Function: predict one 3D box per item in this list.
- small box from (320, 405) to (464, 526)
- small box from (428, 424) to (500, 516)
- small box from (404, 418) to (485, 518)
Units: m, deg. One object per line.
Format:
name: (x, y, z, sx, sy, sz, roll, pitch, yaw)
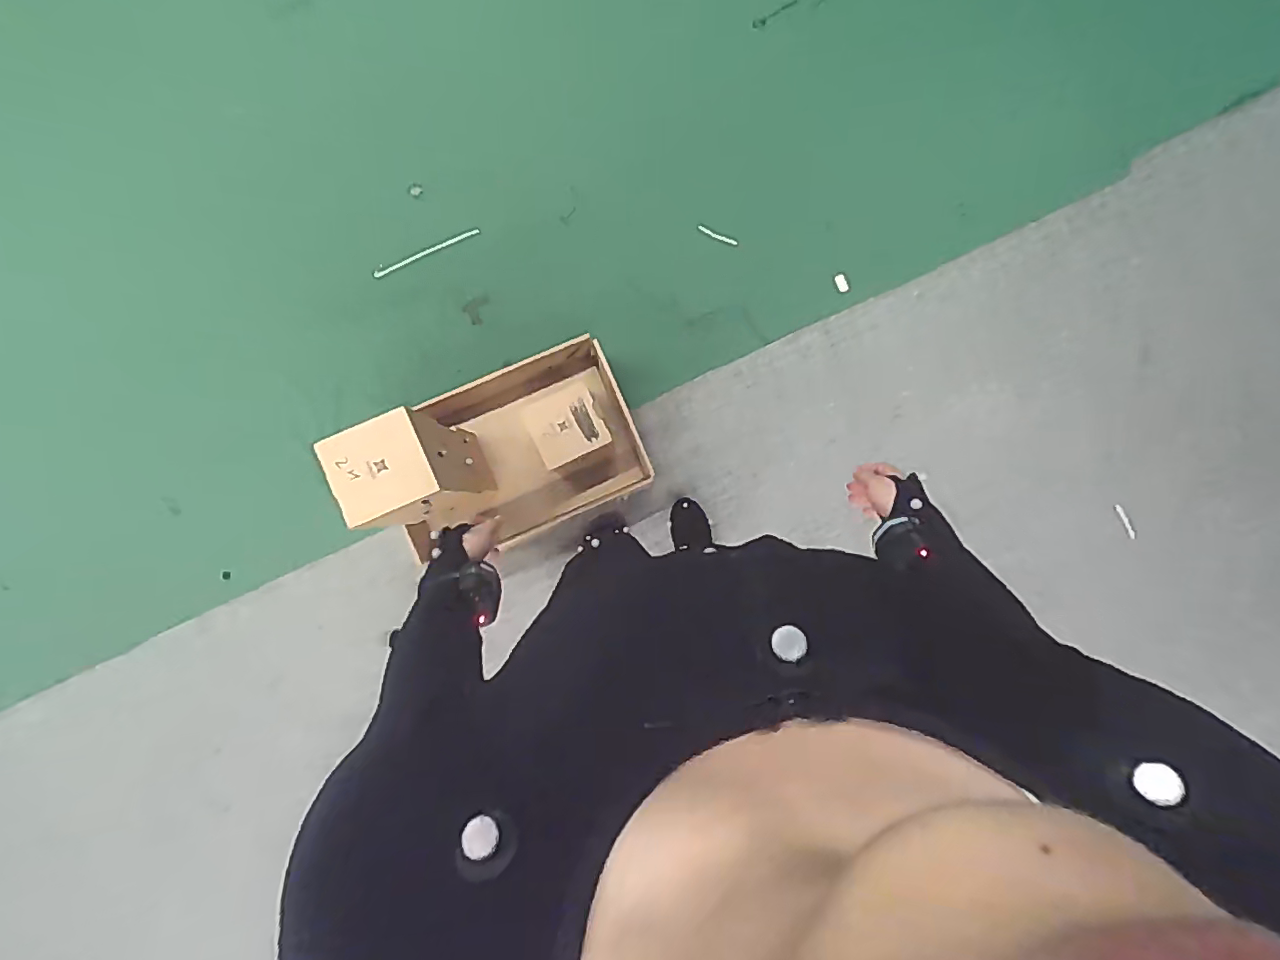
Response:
small box: (-0.455, -0.025, 1.030, 0.179, 0.176, 0.168, -24, 89, -2)
small box: (-0.473, -0.025, 1.359, 0.168, 0.176, 0.179, -25, 90, -2)
small box: (-0.469, -0.018, 1.195, 0.179, 0.176, 0.168, -24, 90, -3)
